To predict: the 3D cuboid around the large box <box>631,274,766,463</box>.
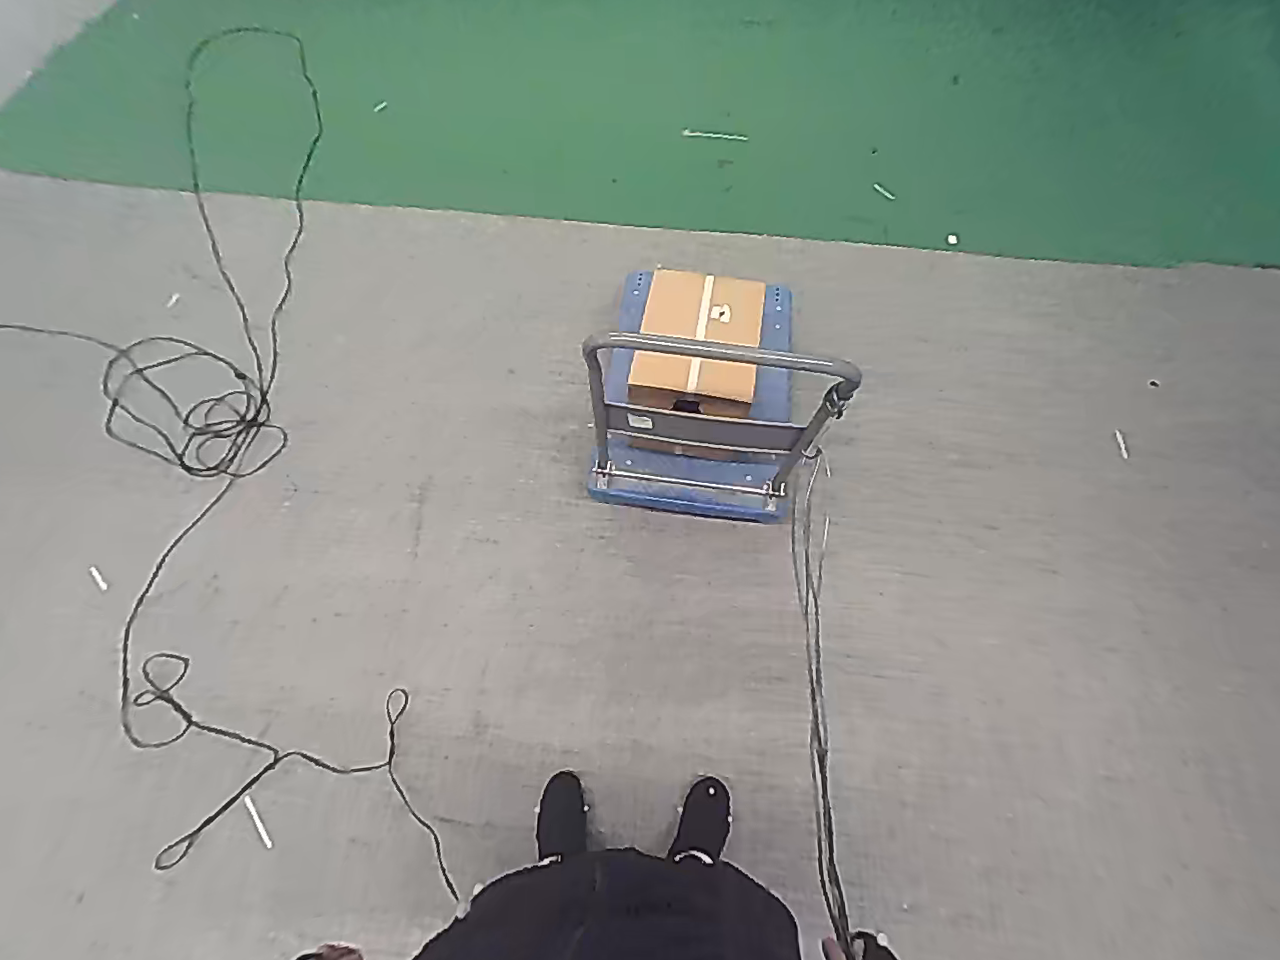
[{"bbox_3d":[0.160,-0.305,1.530,0.320,0.320,0.408,10,64,4],"label":"large box"}]
